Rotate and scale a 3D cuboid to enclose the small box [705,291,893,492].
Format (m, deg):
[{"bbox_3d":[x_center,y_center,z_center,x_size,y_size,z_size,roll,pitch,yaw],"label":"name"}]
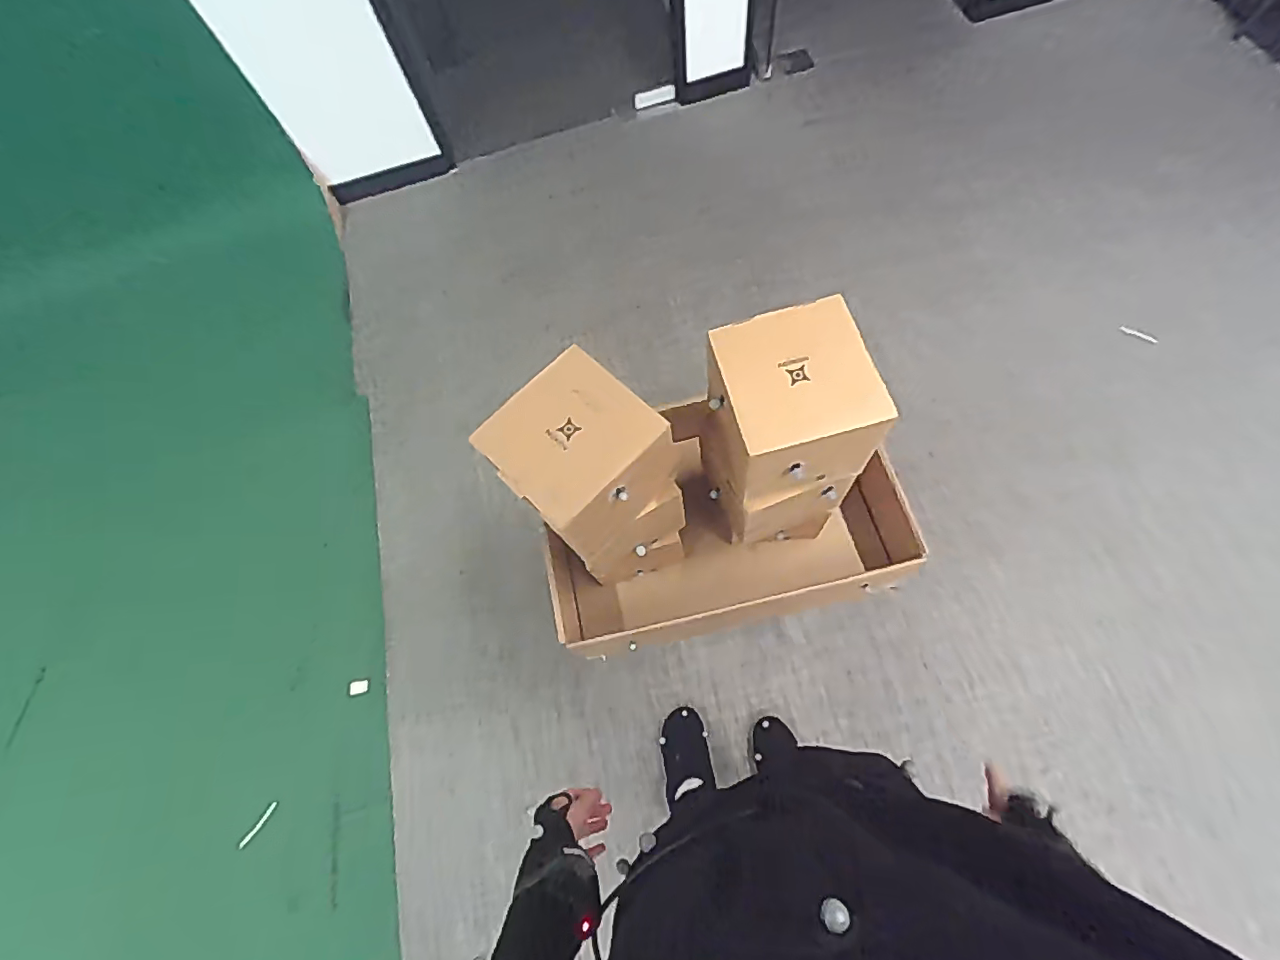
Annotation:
[{"bbox_3d":[0.185,-0.097,0.680,0.168,0.176,0.179,-15,66,2],"label":"small box"}]

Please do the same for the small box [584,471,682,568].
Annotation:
[{"bbox_3d":[-0.048,0.013,0.839,0.168,0.176,0.179,-30,69,-5],"label":"small box"}]

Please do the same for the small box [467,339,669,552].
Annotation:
[{"bbox_3d":[-0.076,-0.033,0.685,0.179,0.176,0.168,-43,71,-10],"label":"small box"}]

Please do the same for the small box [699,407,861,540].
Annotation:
[{"bbox_3d":[0.199,-0.029,0.826,0.179,0.176,0.168,-22,66,-2],"label":"small box"}]
